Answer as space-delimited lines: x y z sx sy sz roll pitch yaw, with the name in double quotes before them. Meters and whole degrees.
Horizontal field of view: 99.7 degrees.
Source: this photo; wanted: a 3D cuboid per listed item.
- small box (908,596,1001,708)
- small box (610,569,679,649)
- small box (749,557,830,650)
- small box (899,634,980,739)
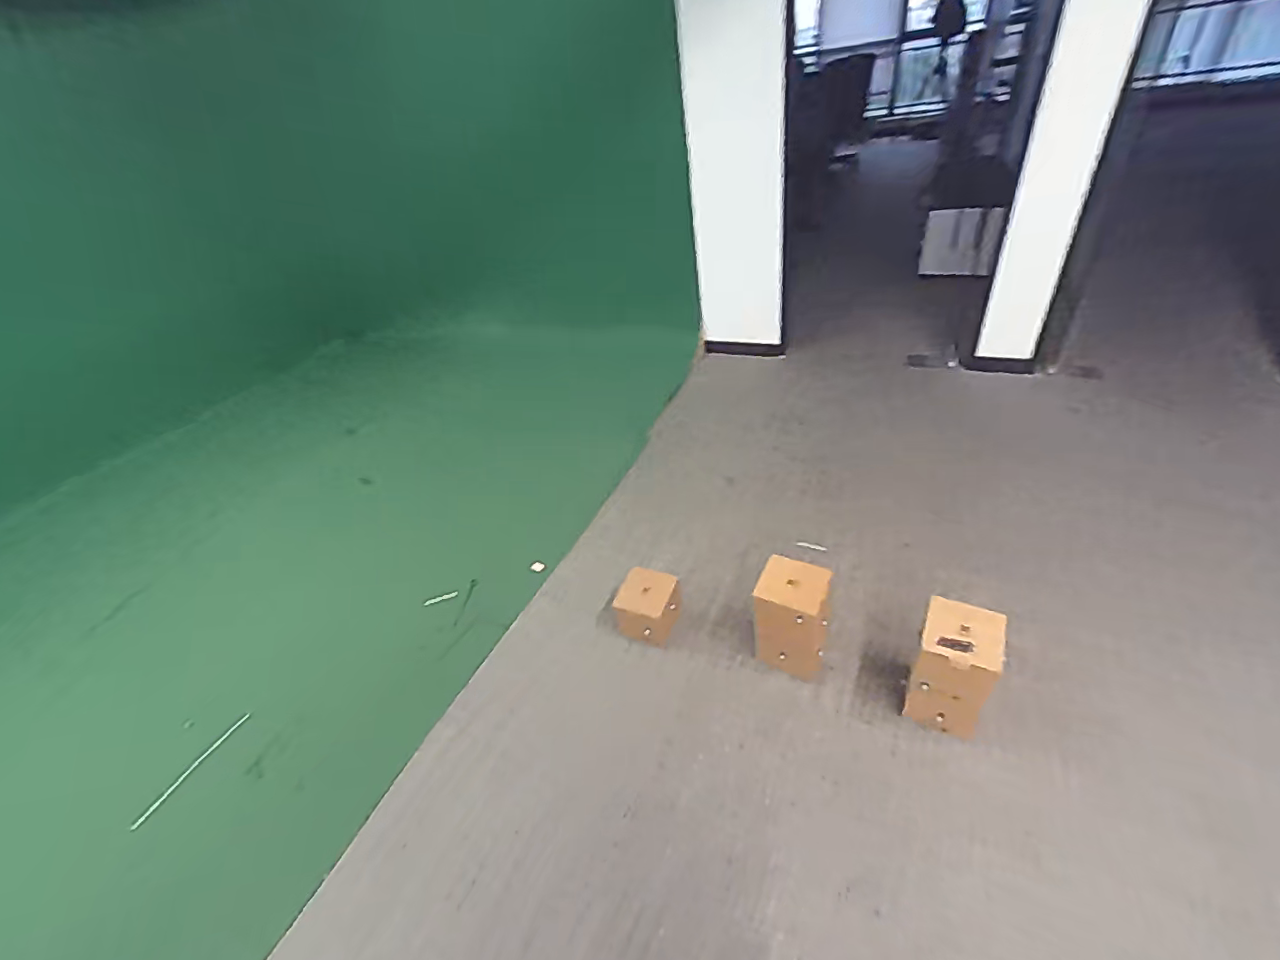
"small box" 0.772 0.426 1.335 0.168 0.176 0.179 14 43 28
"small box" 0.023 0.426 1.781 0.168 0.176 0.179 10 42 23
"small box" 0.419 0.348 1.519 0.179 0.176 0.168 14 44 28
"small box" 0.799 0.551 1.439 0.168 0.176 0.179 13 44 26
